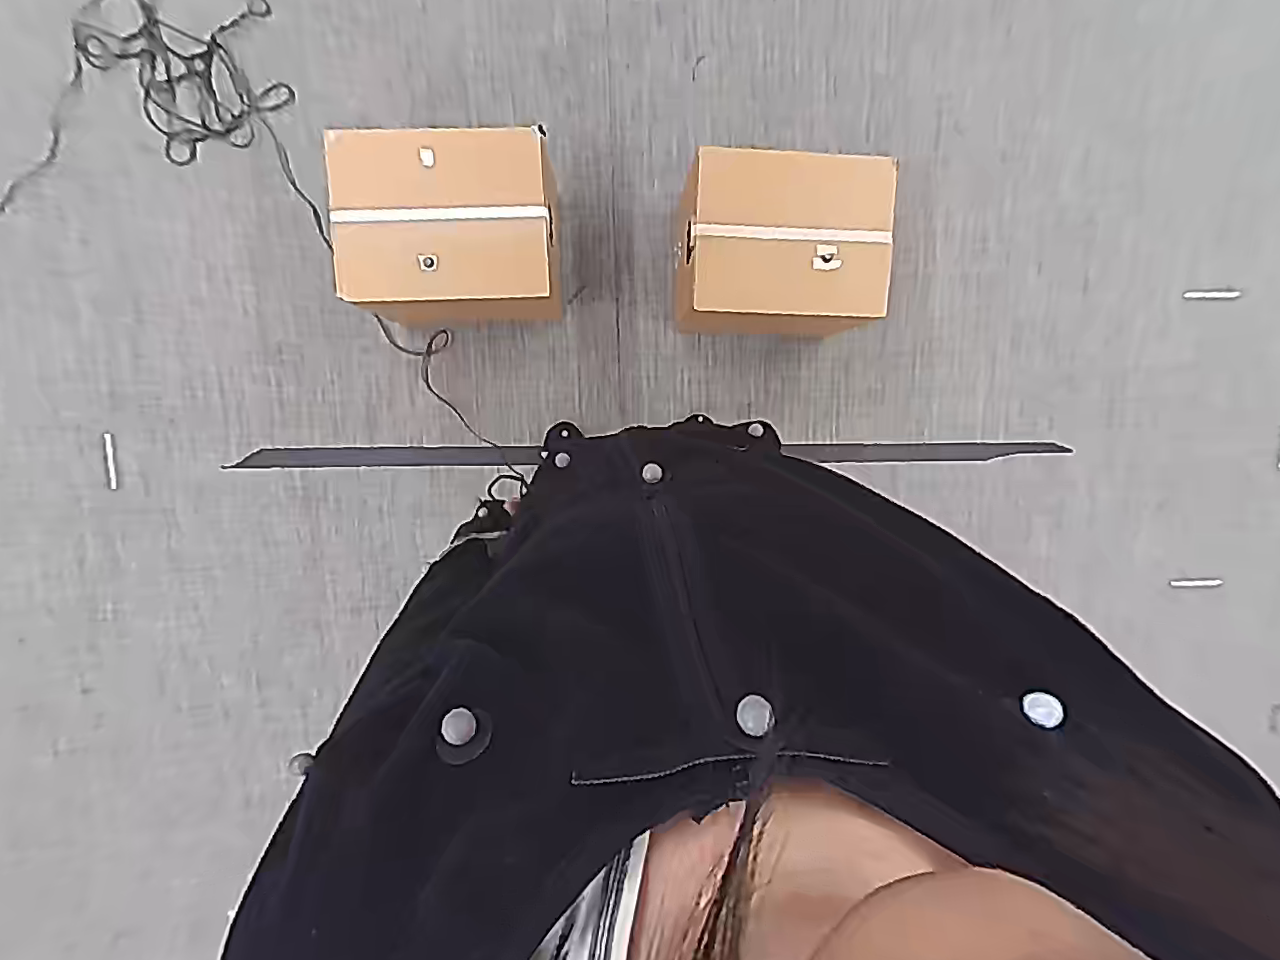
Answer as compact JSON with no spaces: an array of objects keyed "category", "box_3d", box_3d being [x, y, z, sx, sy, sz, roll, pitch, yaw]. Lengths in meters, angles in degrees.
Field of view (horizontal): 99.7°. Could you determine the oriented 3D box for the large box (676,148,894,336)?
[{"category":"large box","box_3d":[0.300,-0.514,1.239,0.408,0.320,0.320,1,97,-4]}]
